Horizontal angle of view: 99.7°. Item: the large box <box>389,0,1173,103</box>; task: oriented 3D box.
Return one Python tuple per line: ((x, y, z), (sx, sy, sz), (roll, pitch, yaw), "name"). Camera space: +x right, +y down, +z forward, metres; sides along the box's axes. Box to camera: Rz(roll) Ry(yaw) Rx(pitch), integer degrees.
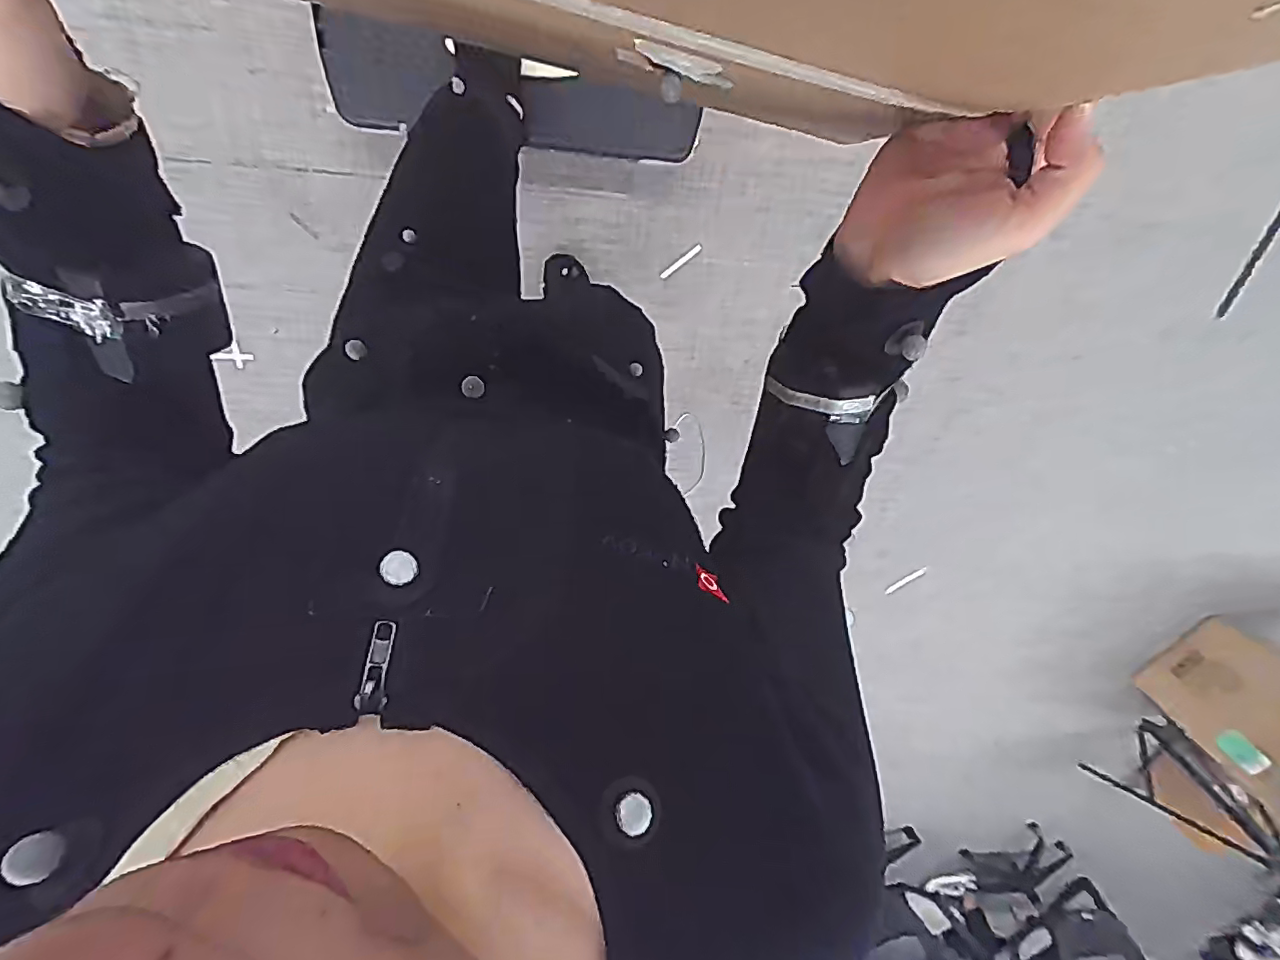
((-0.030, -0.326, 0.119), (0.408, 0.320, 0.320), (6, 119, -9), "large box")
